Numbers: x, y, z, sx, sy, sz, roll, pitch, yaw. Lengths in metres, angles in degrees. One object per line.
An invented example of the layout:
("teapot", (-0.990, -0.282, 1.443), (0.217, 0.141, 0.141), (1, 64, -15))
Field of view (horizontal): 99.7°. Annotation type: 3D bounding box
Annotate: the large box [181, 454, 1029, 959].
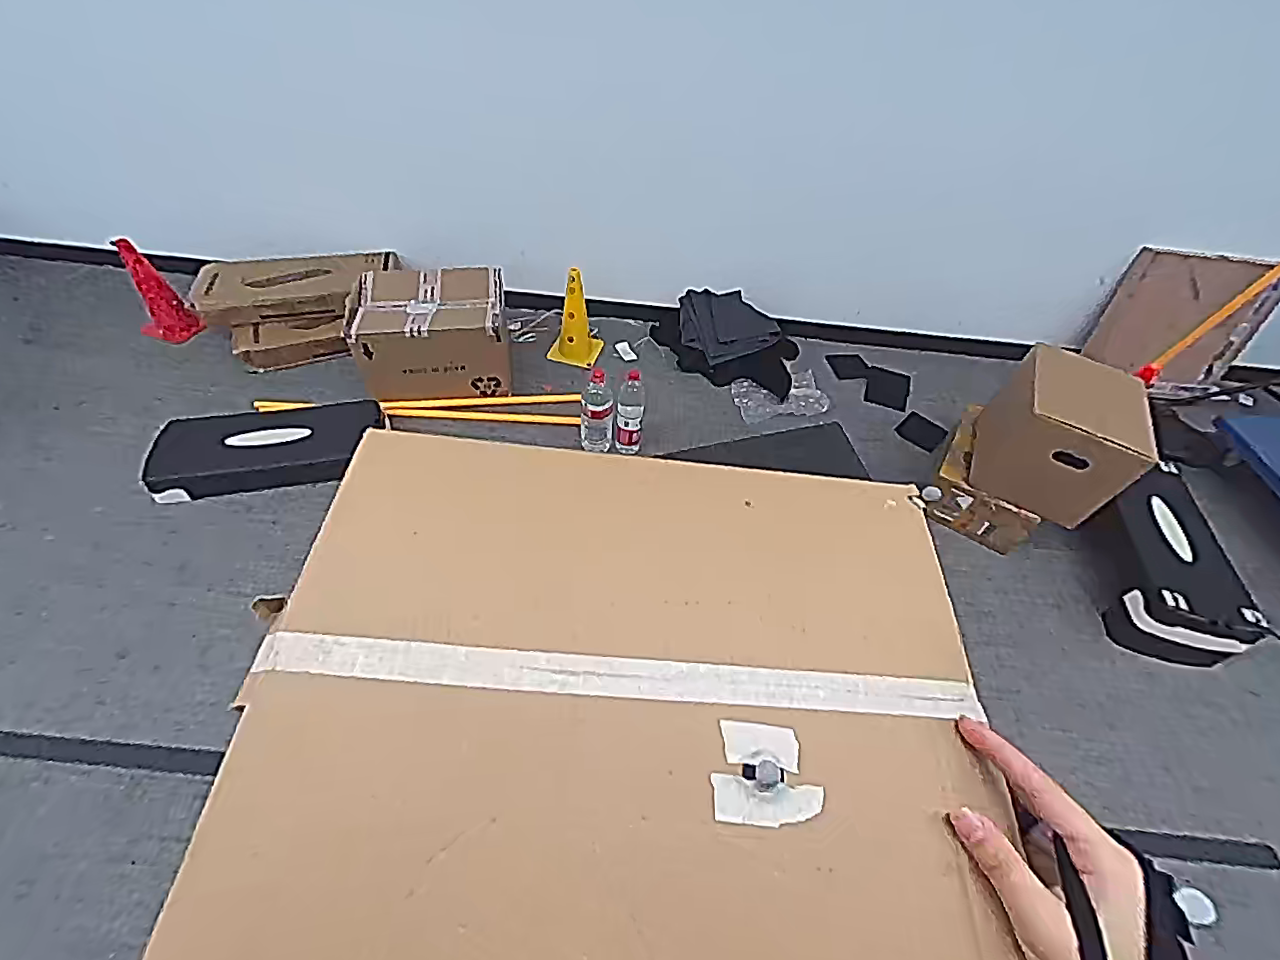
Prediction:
("large box", (-0.018, 0.207, 0.441), (0.408, 0.320, 0.320), (6, 56, -4))
